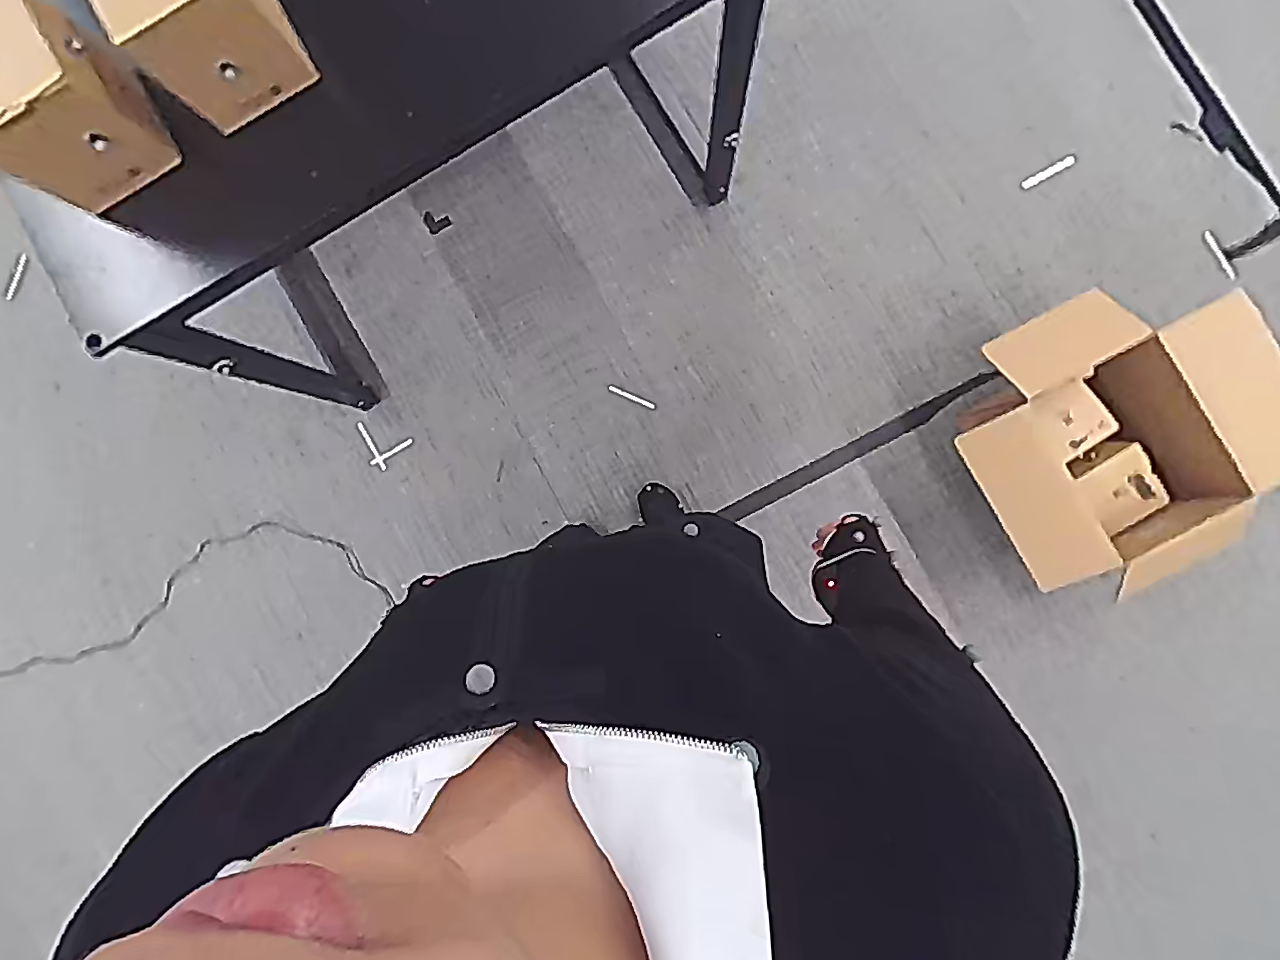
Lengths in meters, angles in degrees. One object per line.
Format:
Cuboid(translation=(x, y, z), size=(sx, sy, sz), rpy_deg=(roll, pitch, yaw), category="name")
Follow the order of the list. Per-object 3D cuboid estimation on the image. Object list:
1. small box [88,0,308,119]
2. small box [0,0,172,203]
Cuboid(translation=(-0.594, -0.630, 0.723), size=(0.168, 0.176, 0.179), rpy_deg=(-29, 88, 1), category="small box")
Cuboid(translation=(-0.803, -0.513, 0.734), size=(0.168, 0.176, 0.179), rpy_deg=(-30, 87, 0), category="small box")
